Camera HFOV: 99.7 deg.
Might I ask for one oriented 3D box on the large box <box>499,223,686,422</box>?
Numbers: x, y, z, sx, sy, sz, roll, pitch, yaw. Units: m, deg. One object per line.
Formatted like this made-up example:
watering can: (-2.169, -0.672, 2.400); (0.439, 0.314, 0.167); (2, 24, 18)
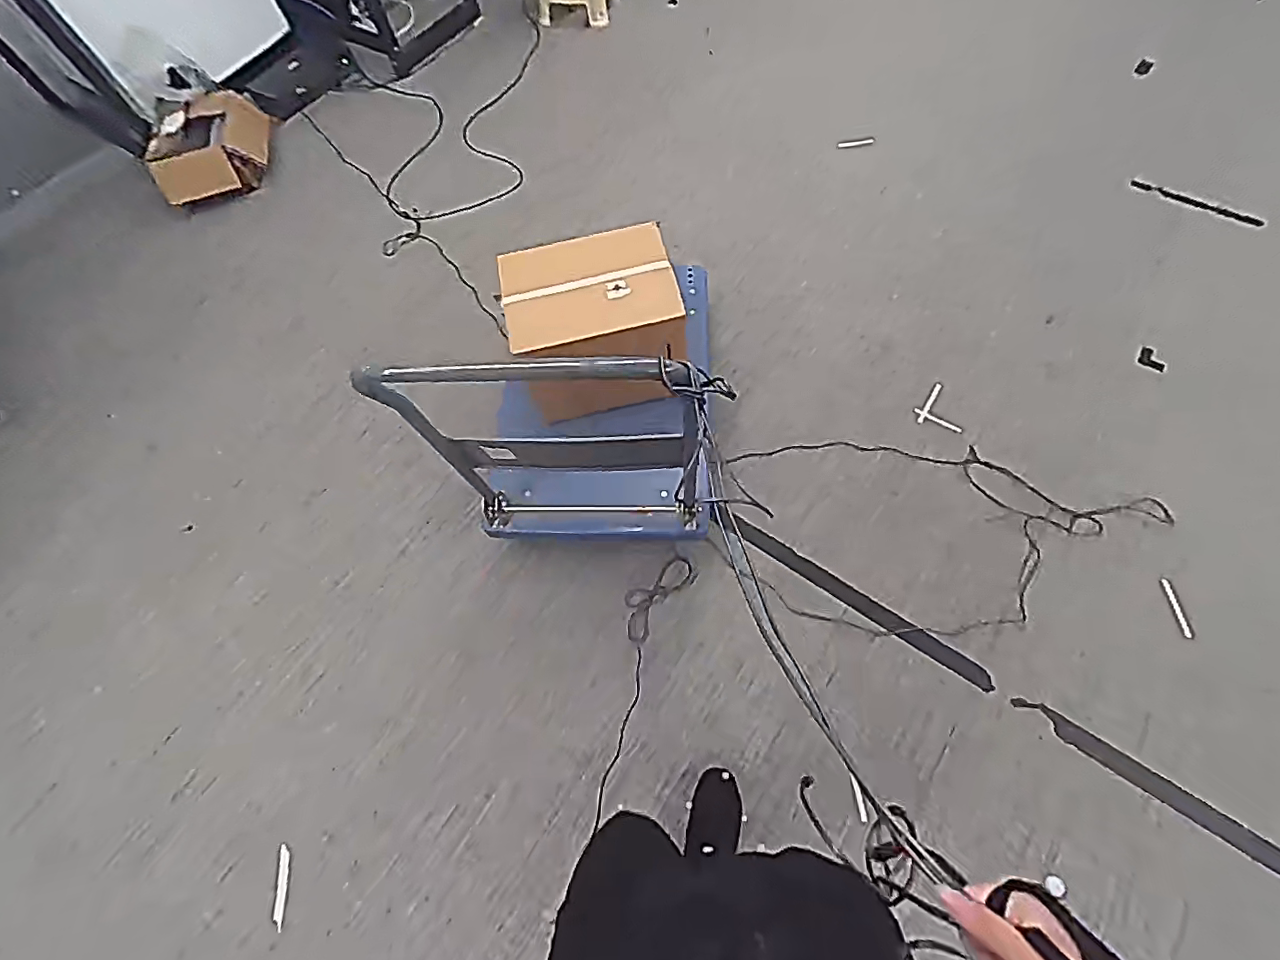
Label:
large box: (-0.111, -0.391, 1.393); (0.408, 0.320, 0.320); (-13, 66, -1)
